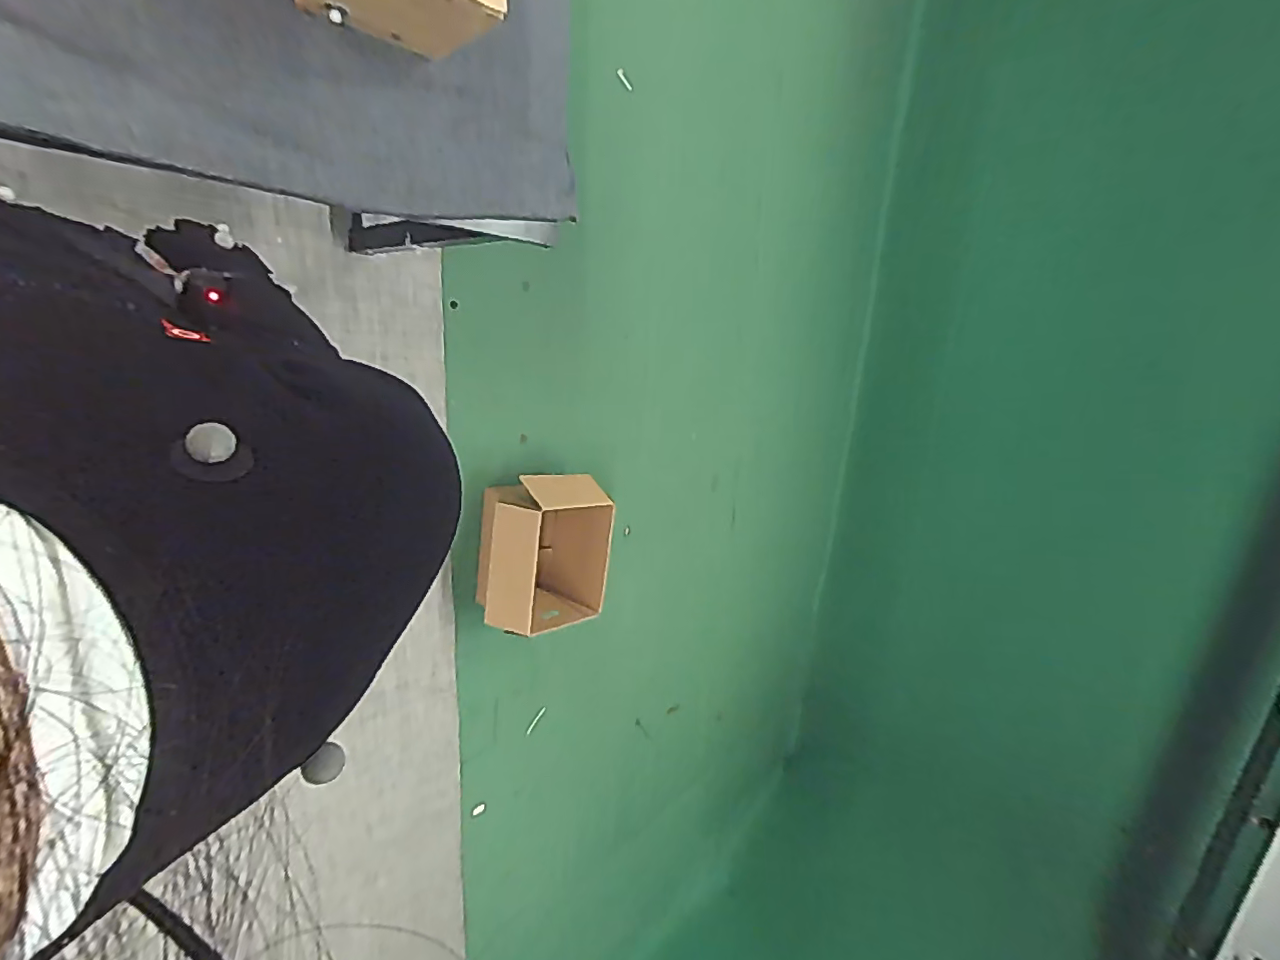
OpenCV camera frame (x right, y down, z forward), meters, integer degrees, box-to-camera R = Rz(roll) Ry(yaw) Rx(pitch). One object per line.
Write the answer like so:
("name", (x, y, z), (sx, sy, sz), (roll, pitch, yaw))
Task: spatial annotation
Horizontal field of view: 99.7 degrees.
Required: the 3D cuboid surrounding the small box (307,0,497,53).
("small box", (-0.271, -0.602, 0.578), (0.168, 0.176, 0.179), (-16, 114, -46))
